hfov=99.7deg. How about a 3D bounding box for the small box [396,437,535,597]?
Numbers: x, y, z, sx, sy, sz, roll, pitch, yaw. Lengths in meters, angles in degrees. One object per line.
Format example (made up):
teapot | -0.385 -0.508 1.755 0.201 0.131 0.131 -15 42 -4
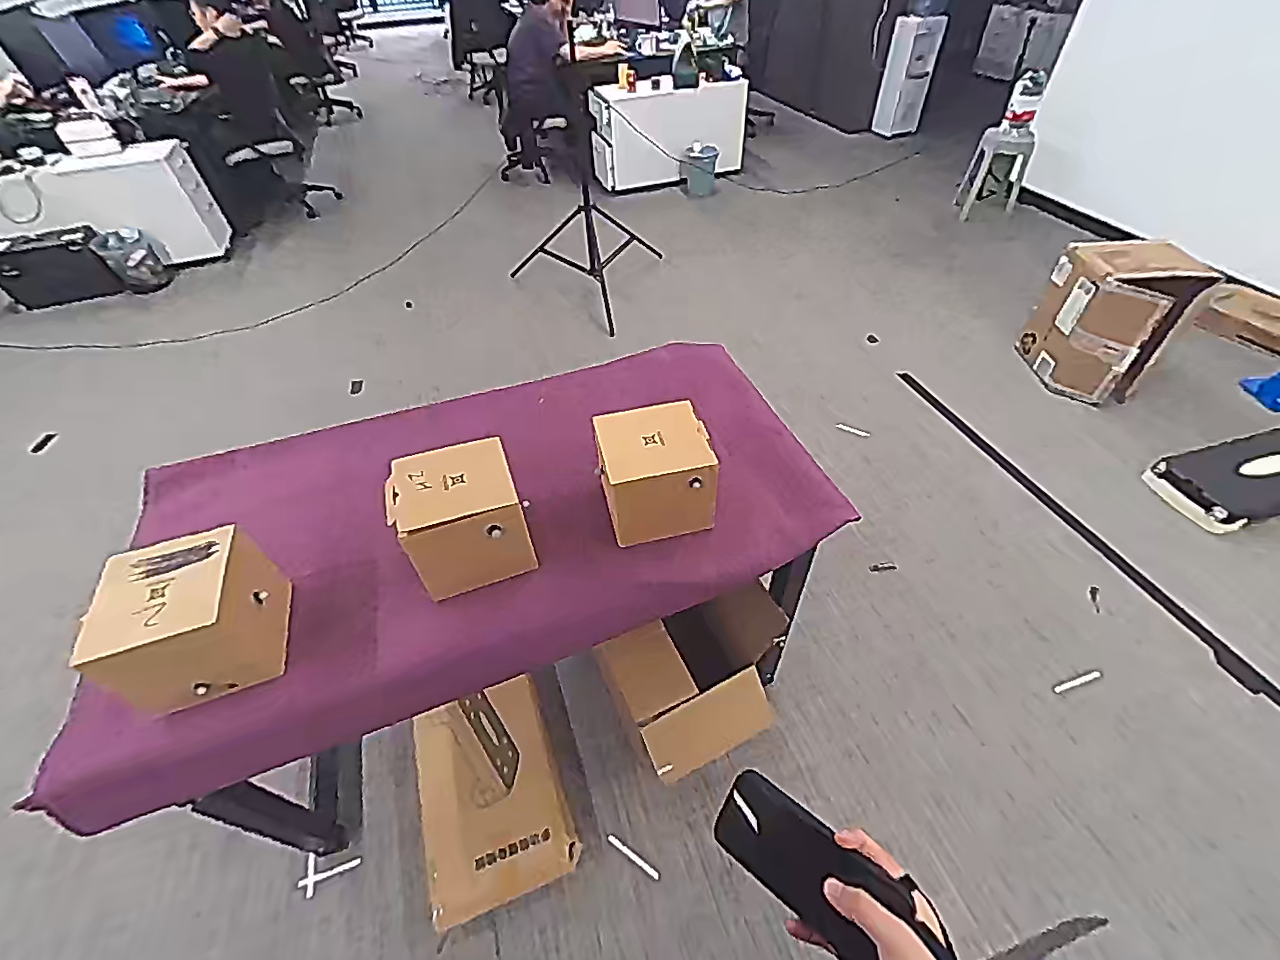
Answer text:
small box | -0.278 0.061 0.886 0.179 0.176 0.168 -17 46 -13

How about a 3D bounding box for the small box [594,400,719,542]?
small box | 0.027 -0.012 0.940 0.179 0.176 0.168 -12 48 -8
